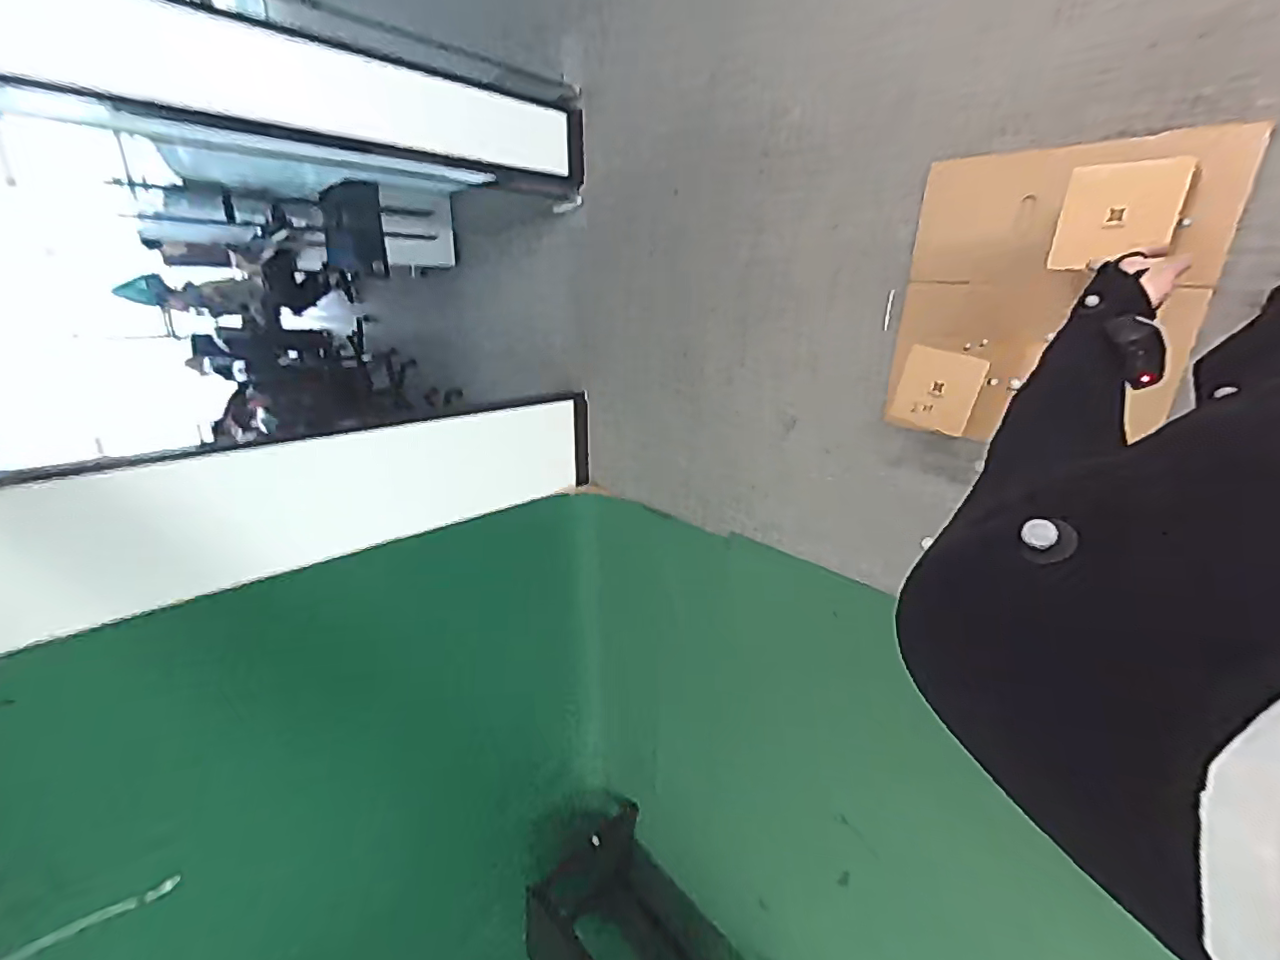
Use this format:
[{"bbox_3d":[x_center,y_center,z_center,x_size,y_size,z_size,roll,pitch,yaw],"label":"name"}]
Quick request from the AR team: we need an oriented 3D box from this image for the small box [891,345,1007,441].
[{"bbox_3d":[0.722,-0.212,1.260,0.168,0.176,0.179,30,123,39],"label":"small box"}]

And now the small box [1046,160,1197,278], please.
[{"bbox_3d":[0.890,-0.472,1.003,0.168,0.176,0.179,20,118,41],"label":"small box"}]

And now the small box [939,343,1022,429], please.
[{"bbox_3d":[0.838,-0.246,1.376,0.168,0.176,0.179,30,123,38],"label":"small box"}]
